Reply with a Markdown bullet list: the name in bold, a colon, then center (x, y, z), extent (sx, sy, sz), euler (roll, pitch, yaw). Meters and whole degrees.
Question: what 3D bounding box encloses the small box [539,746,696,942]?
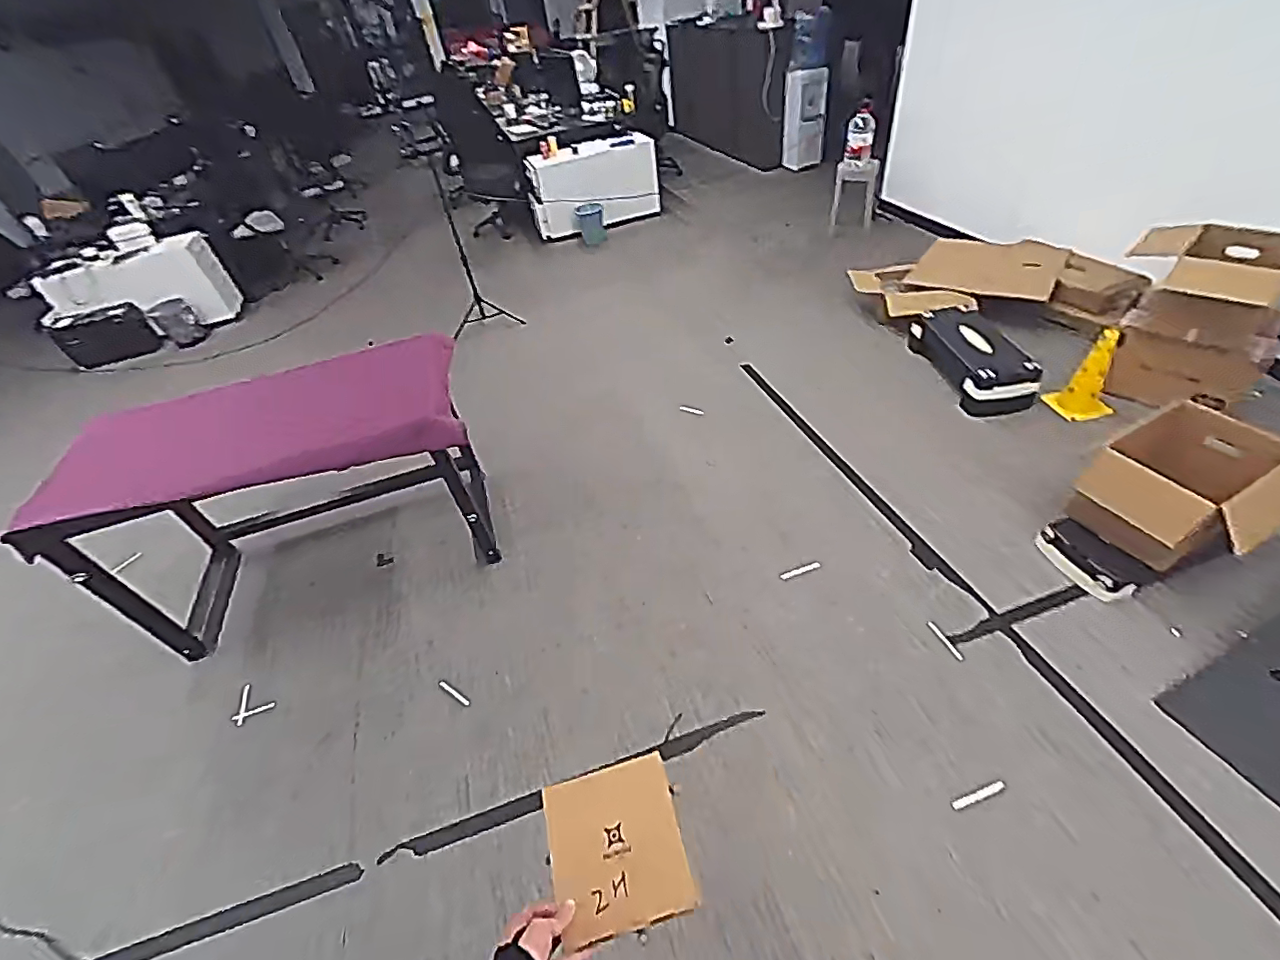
- **small box**: center (-0.028, 0.497, 0.737), extent (0.168, 0.176, 0.179), euler (-16, 51, -4)
